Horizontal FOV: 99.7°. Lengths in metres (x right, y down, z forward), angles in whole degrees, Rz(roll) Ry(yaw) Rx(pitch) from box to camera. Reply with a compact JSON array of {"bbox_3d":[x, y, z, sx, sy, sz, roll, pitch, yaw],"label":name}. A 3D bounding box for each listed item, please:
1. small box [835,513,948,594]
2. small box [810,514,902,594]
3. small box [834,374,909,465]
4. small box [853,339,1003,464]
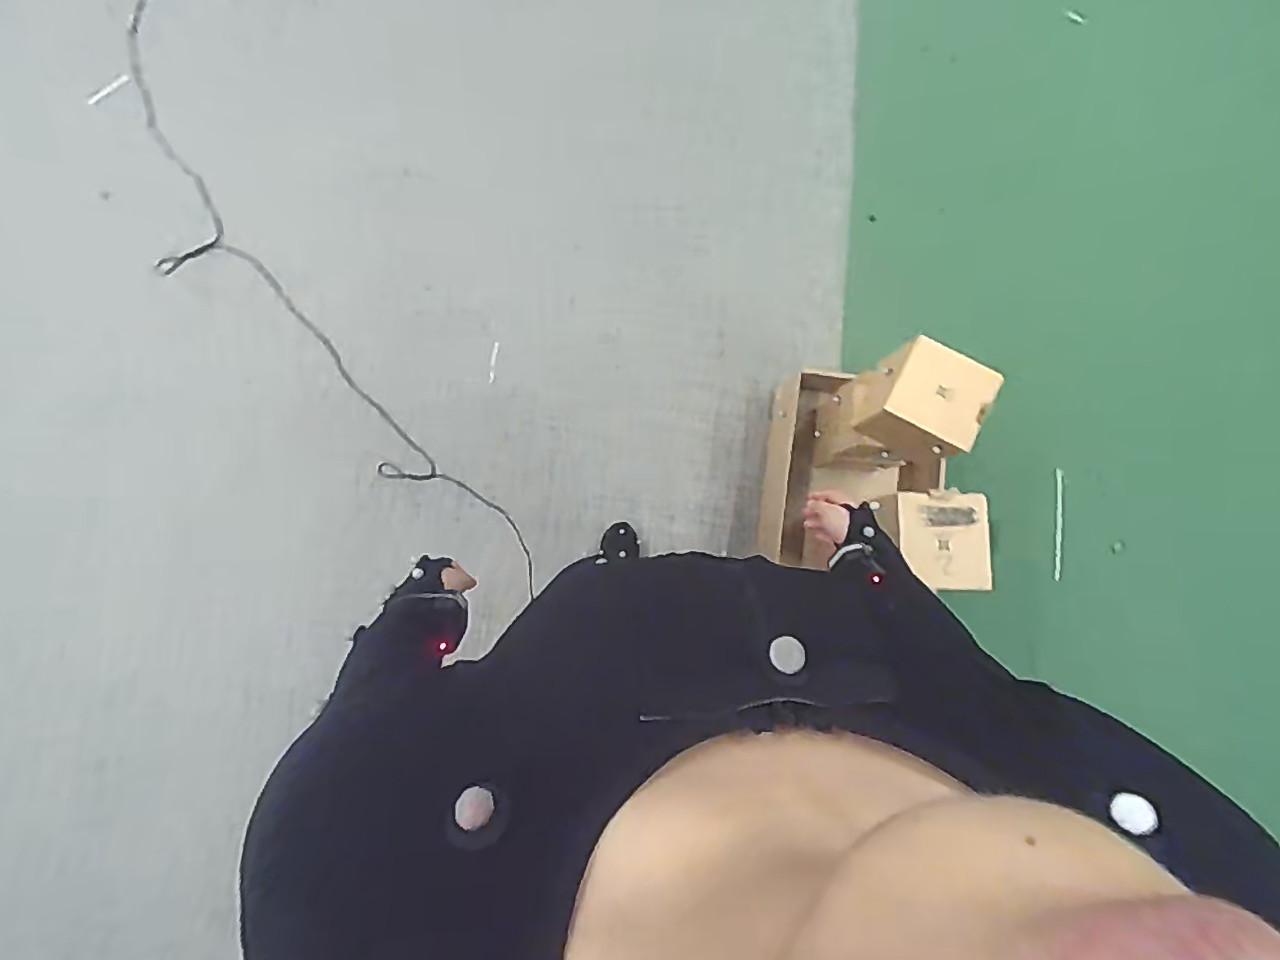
[{"bbox_3d":[0.554,0.163,1.208,0.179,0.176,0.168,1,81,1],"label":"small box"},{"bbox_3d":[0.553,0.185,1.370,0.179,0.176,0.168,11,83,0],"label":"small box"},{"bbox_3d":[0.561,-0.130,1.236,0.179,0.176,0.168,7,85,-1],"label":"small box"},{"bbox_3d":[0.558,-0.144,1.074,0.179,0.176,0.168,29,85,1],"label":"small box"}]
